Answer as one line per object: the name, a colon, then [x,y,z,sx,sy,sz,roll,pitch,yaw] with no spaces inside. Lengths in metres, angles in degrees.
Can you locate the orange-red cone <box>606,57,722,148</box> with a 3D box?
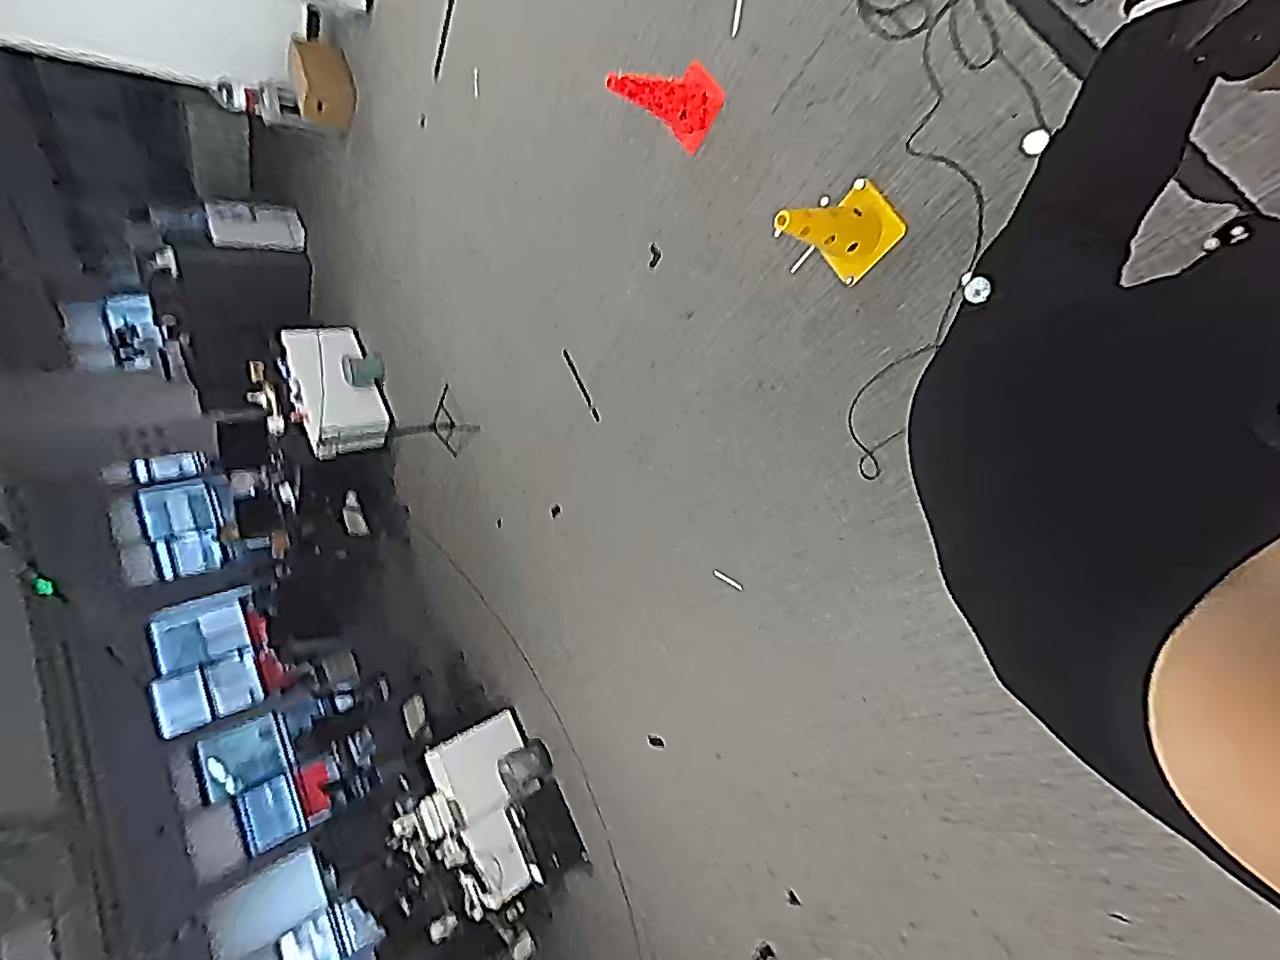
orange-red cone: [0.048,-1.188,1.655,0.199,0.360,0.198,60,139,15]

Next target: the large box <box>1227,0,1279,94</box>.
large box: [0.626,-0.409,0.255,0.408,0.320,0.320,28,126,38]
